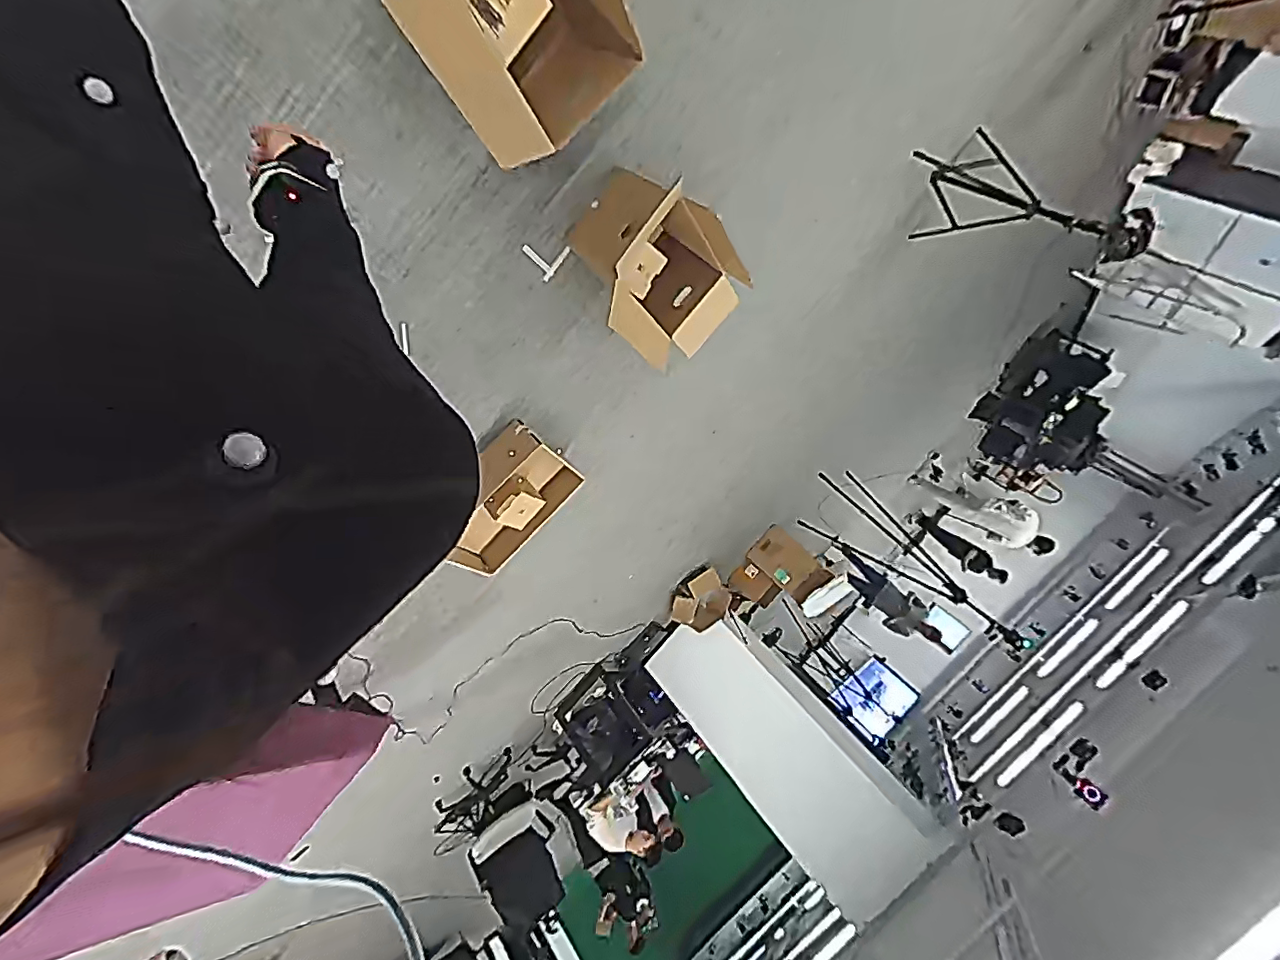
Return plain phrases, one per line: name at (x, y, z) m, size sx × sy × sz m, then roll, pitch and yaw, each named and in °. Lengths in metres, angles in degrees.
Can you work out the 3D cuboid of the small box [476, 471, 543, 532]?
small box at (-0.546, 0.086, 2.245) m, size 0.168 × 0.176 × 0.179 m, roll -47°, pitch 149°, yaw 5°
